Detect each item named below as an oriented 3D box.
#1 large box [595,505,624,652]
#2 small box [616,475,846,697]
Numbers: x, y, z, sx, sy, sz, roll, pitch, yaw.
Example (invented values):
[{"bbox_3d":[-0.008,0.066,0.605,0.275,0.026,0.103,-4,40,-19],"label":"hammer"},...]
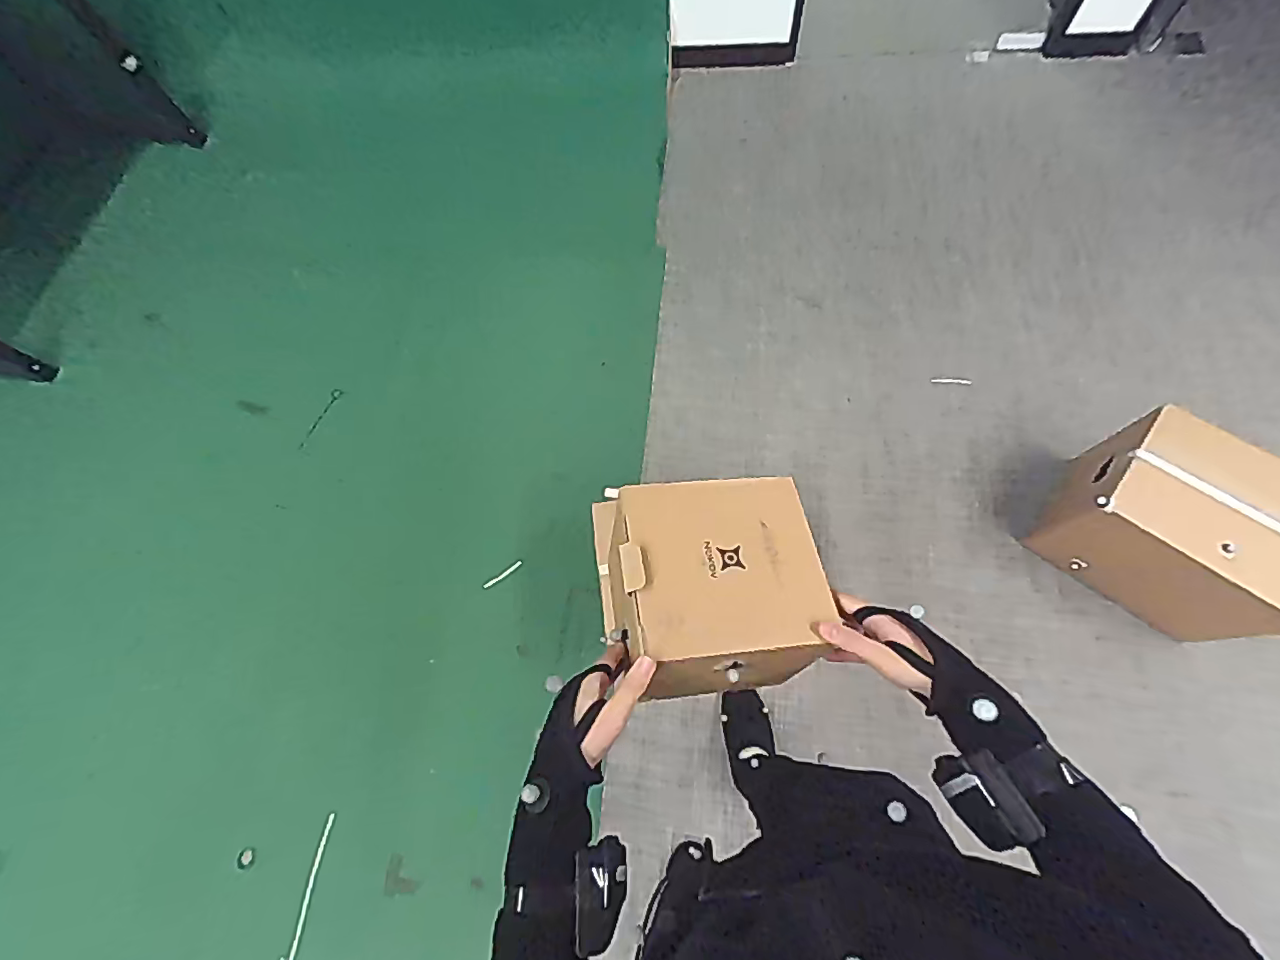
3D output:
[{"bbox_3d":[0.131,0.224,1.289,0.408,0.320,0.320,-10,67,3],"label":"large box"},{"bbox_3d":[0.070,0.111,0.545,0.179,0.176,0.168,-3,57,-10],"label":"small box"}]
